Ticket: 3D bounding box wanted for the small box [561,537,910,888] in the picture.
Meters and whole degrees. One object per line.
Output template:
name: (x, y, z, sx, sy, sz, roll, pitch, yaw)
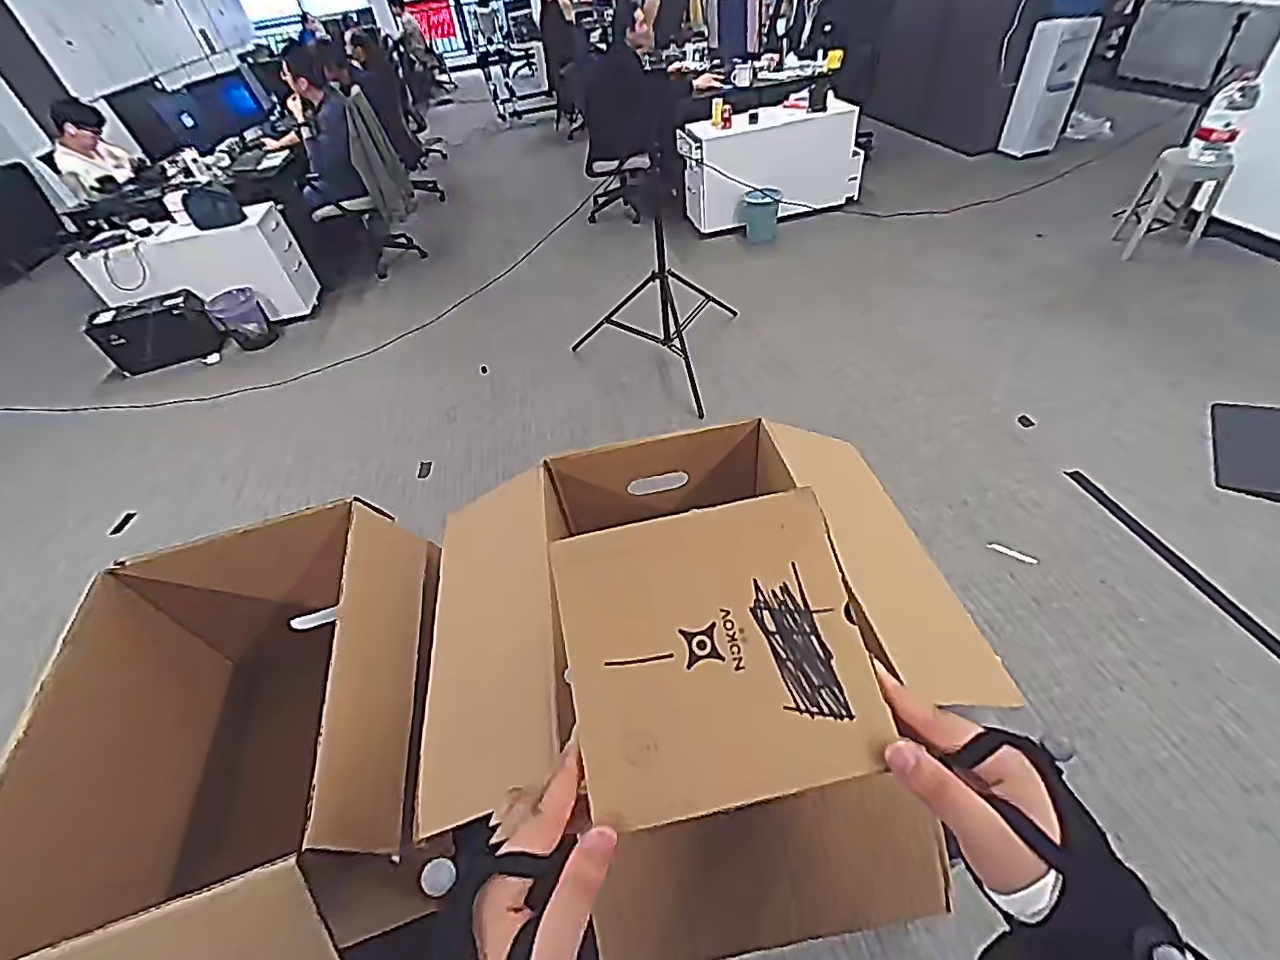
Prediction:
small box: (0.050, 0.153, 0.391, 0.179, 0.176, 0.168, -11, 69, -3)
